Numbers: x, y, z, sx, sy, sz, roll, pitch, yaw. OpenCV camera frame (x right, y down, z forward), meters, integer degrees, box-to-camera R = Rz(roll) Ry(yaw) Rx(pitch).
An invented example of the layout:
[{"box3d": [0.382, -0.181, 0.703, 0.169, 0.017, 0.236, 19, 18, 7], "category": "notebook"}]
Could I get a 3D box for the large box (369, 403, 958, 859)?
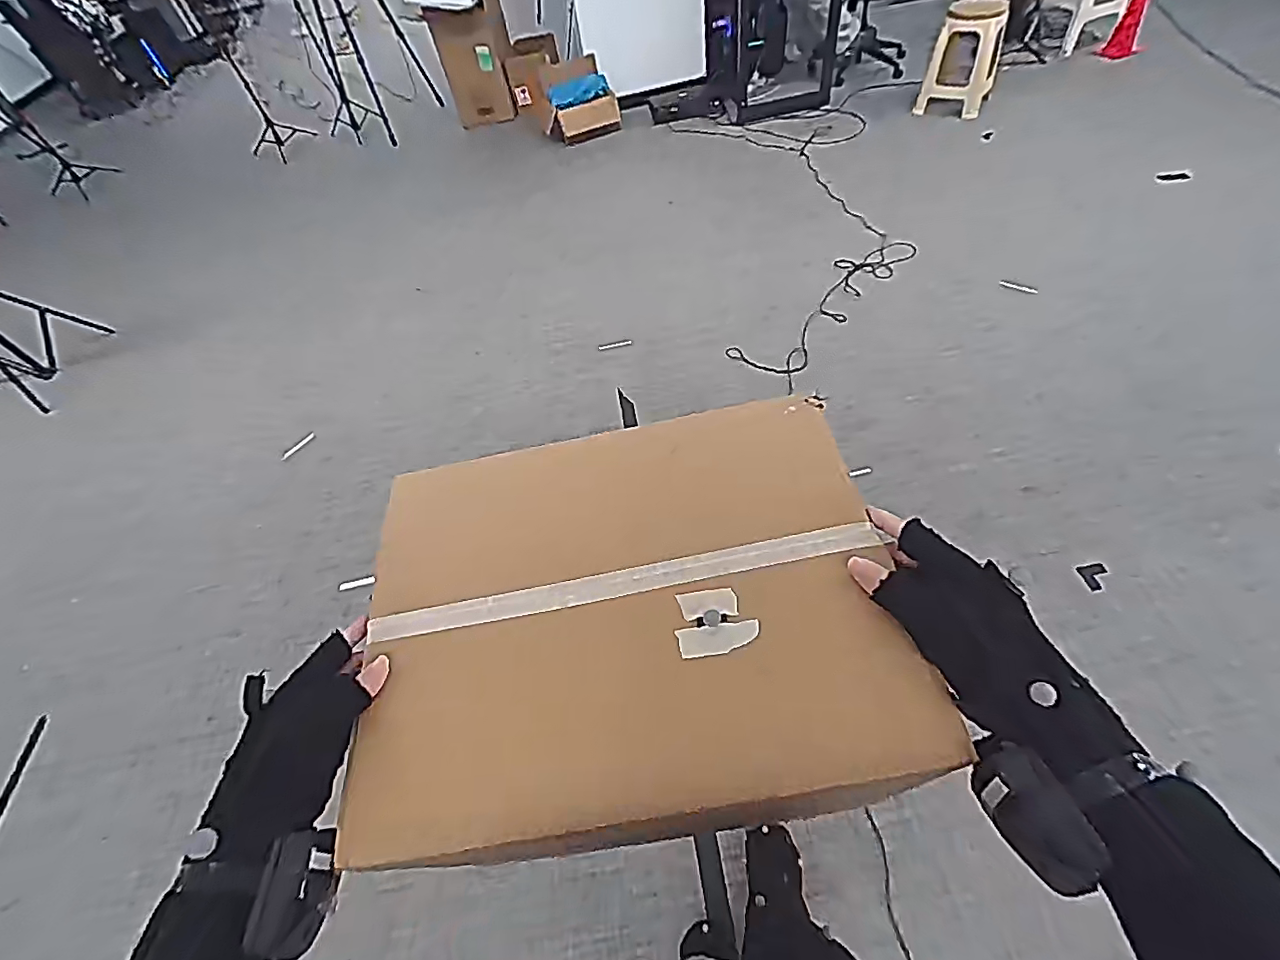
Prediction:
[{"box3d": [0.011, 0.171, 0.557, 0.408, 0.320, 0.320, -11, 55, 2], "category": "large box"}]
